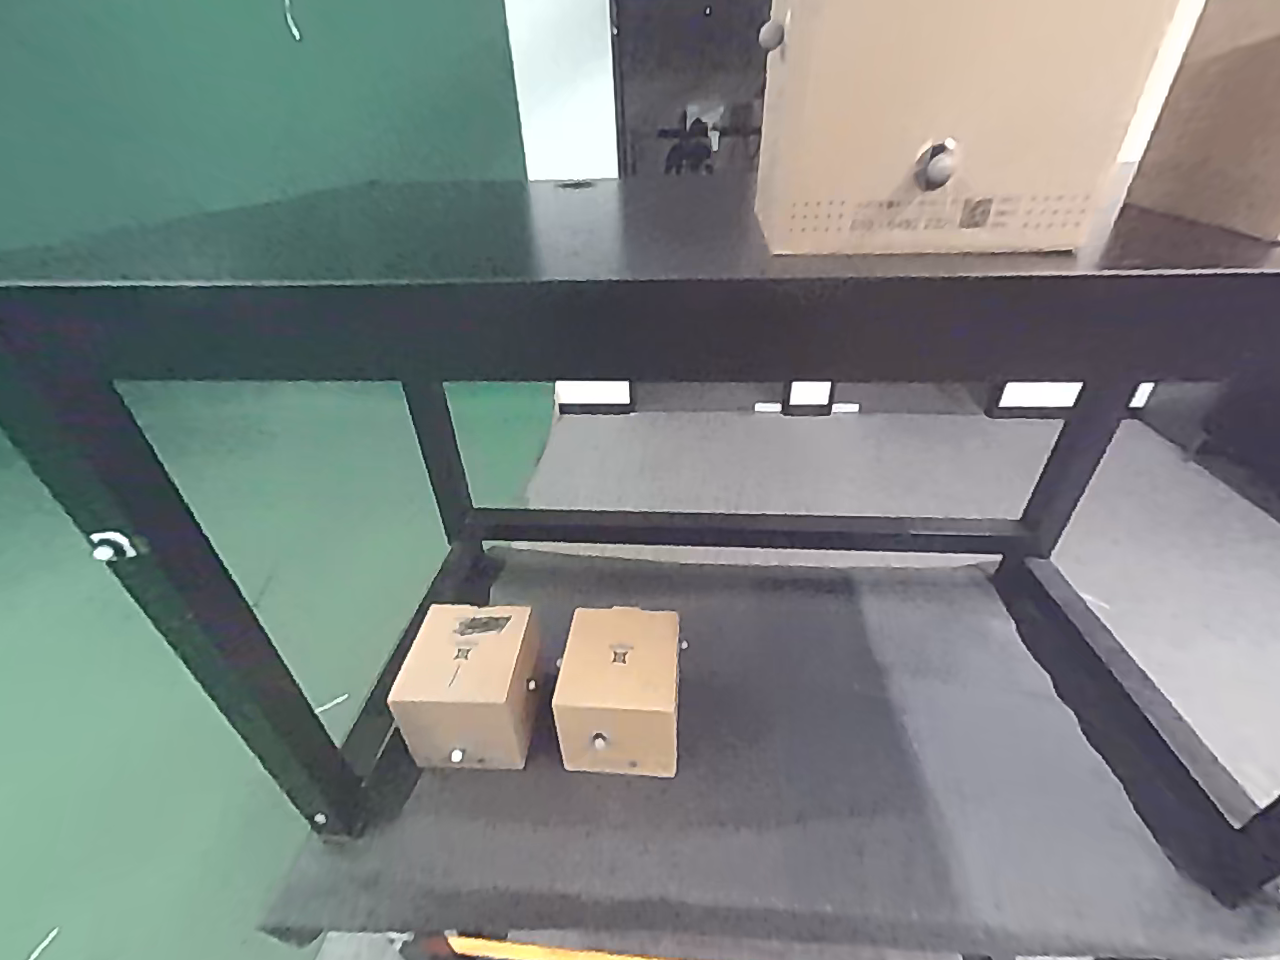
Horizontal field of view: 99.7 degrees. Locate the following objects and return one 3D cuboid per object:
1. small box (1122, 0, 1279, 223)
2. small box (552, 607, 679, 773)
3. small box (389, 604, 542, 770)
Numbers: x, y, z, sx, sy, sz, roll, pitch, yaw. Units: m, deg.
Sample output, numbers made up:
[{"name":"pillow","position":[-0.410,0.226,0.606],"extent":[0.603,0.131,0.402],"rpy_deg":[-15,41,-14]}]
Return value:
[{"name":"small box","position":[0.434,-0.242,0.303],"extent":[0.168,0.176,0.179],"rpy_deg":[6,34,12]},{"name":"small box","position":[-0.026,0.317,0.821],"extent":[0.168,0.176,0.179],"rpy_deg":[1,32,5]},{"name":"small box","position":[-0.253,0.314,0.835],"extent":[0.168,0.176,0.179],"rpy_deg":[0,33,3]}]
